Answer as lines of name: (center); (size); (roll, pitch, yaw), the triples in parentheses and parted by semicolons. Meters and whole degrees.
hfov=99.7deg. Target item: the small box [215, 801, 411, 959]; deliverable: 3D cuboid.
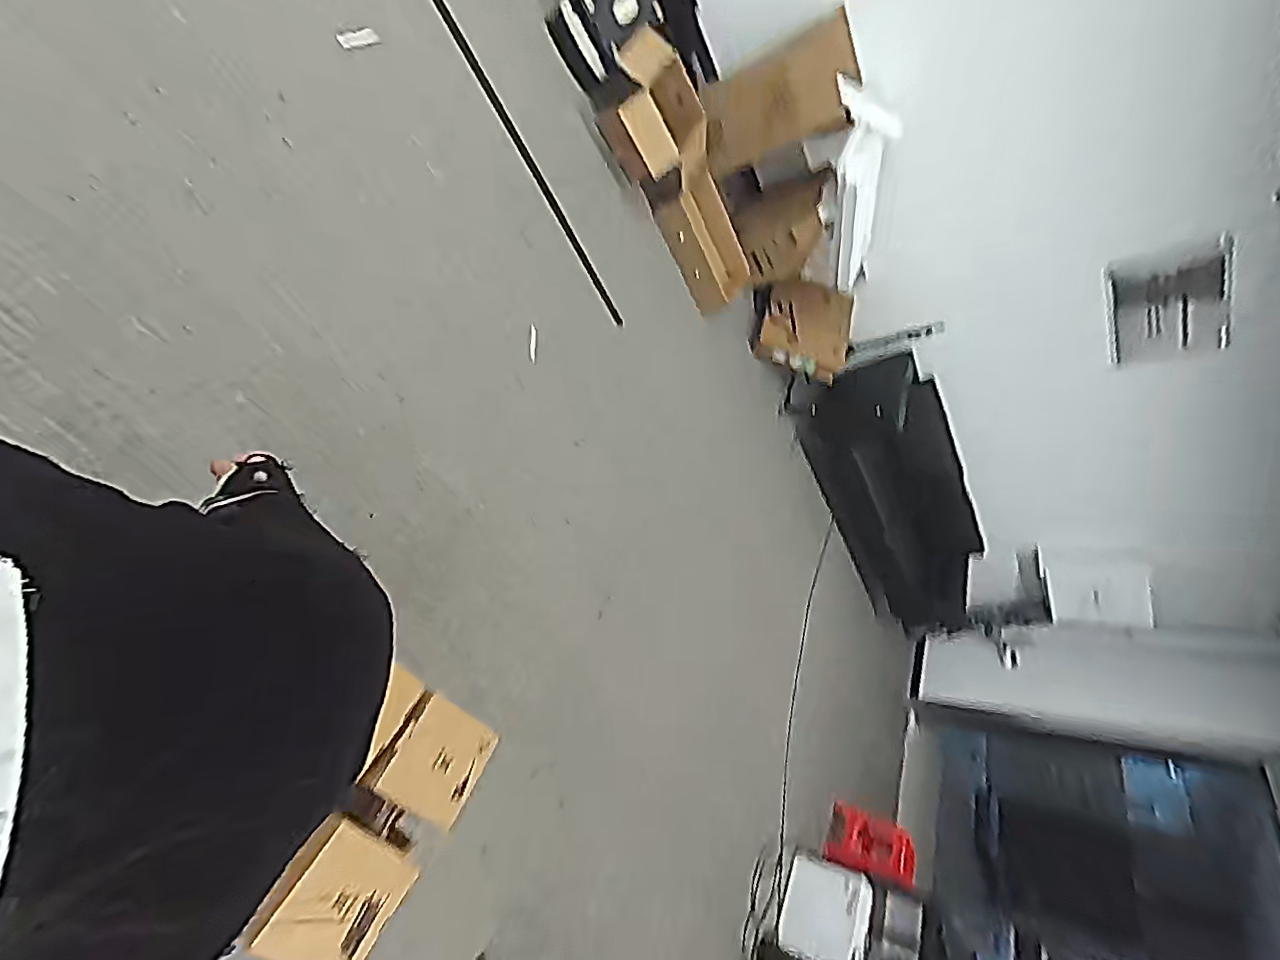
small box: (-0.509, 0.638, 0.847); (0.179, 0.176, 0.168); (56, 47, -26)
